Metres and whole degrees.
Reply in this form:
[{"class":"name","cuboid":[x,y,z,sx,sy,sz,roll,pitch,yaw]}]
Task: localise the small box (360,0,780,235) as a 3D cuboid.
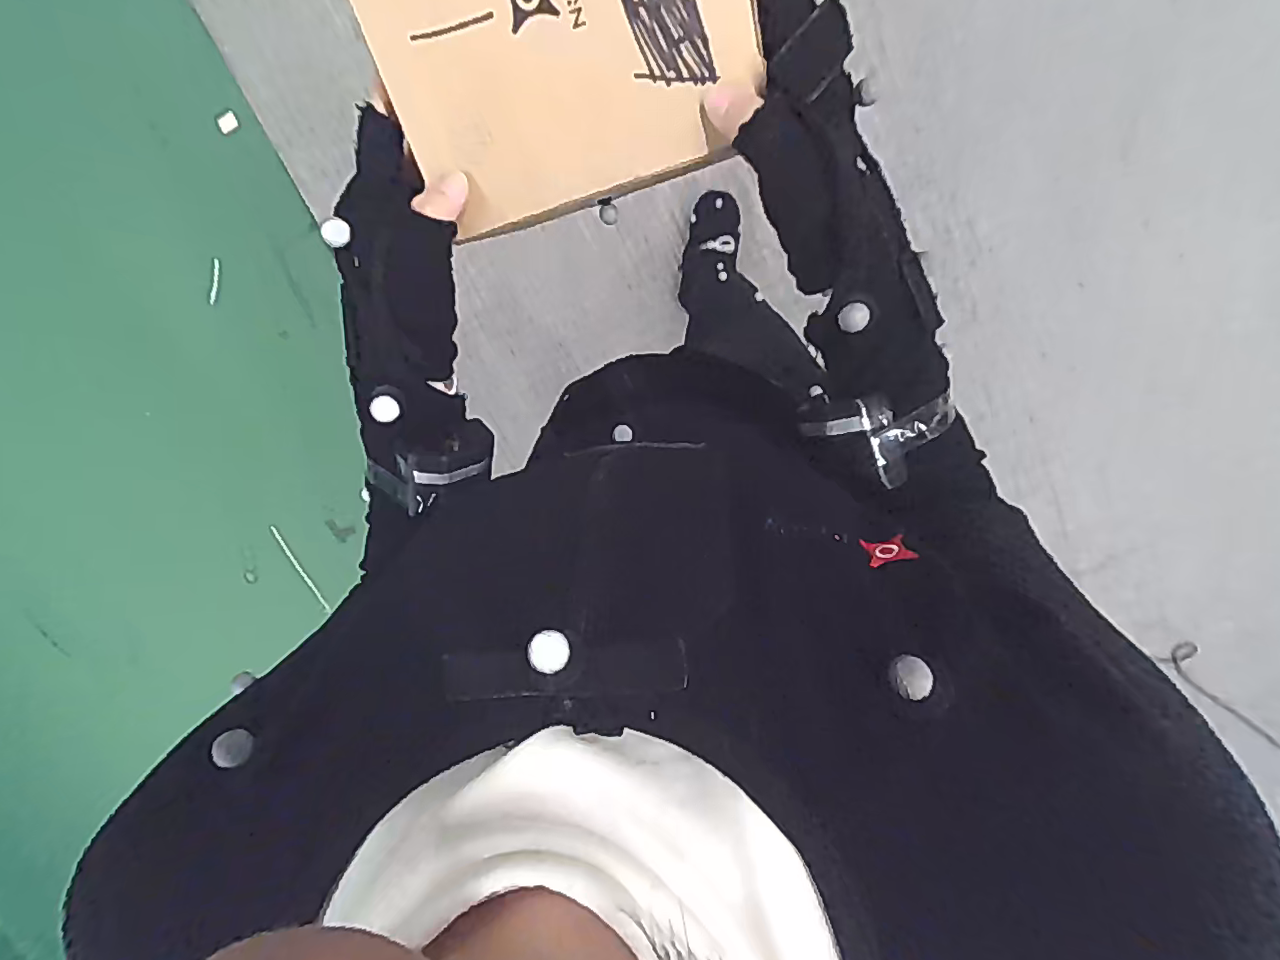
[{"class":"small box","cuboid":[-0.037,-0.261,0.312,0.179,0.176,0.168,-17,116,11]}]
